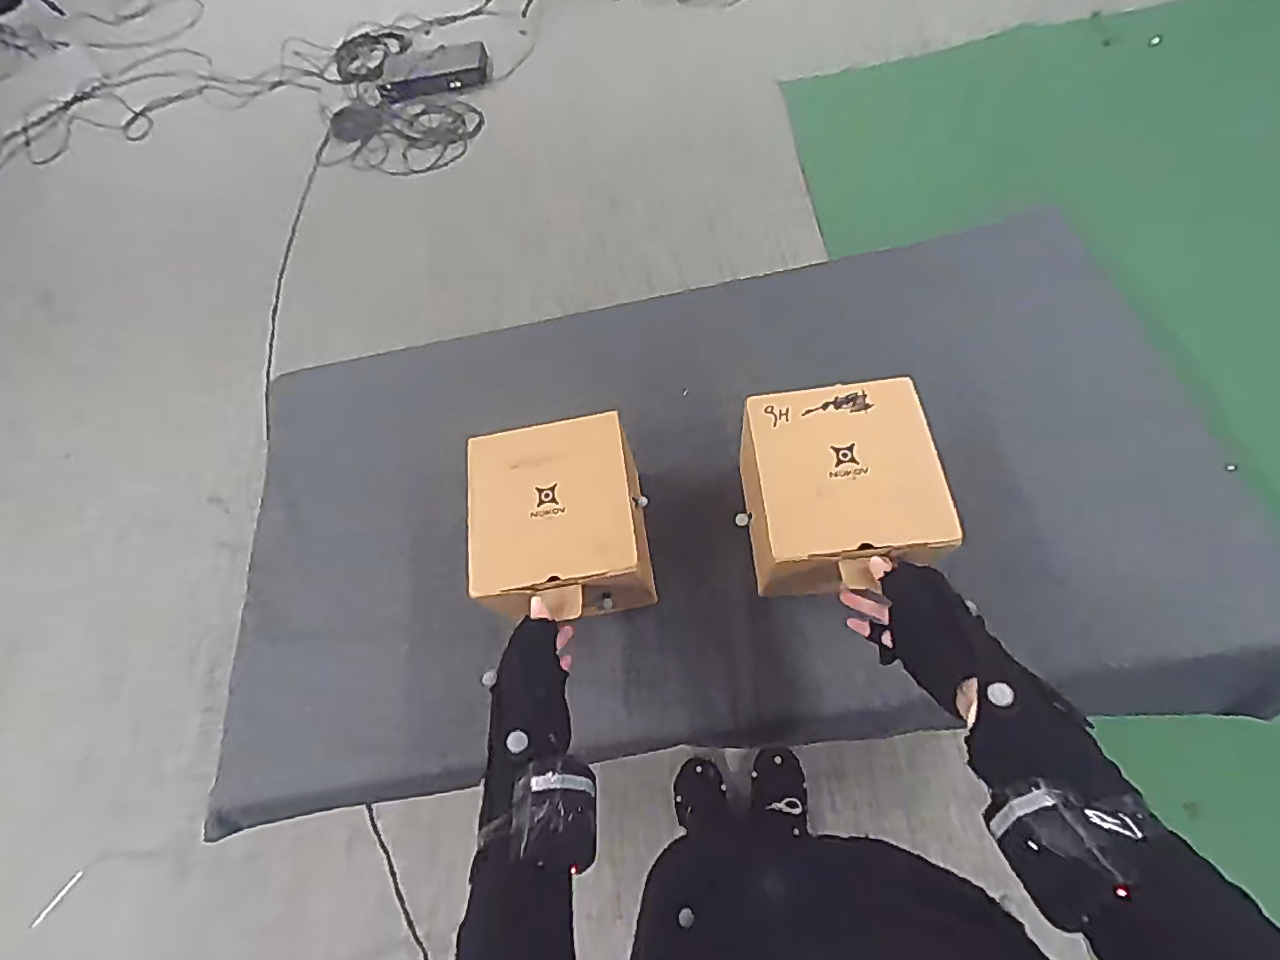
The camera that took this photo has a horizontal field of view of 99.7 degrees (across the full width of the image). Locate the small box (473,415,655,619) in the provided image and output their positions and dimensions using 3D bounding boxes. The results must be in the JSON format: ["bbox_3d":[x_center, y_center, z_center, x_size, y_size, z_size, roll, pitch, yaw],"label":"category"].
[{"bbox_3d":[-0.080,0.054,0.620,0.168,0.176,0.179,-10,64,2],"label":"small box"}]
